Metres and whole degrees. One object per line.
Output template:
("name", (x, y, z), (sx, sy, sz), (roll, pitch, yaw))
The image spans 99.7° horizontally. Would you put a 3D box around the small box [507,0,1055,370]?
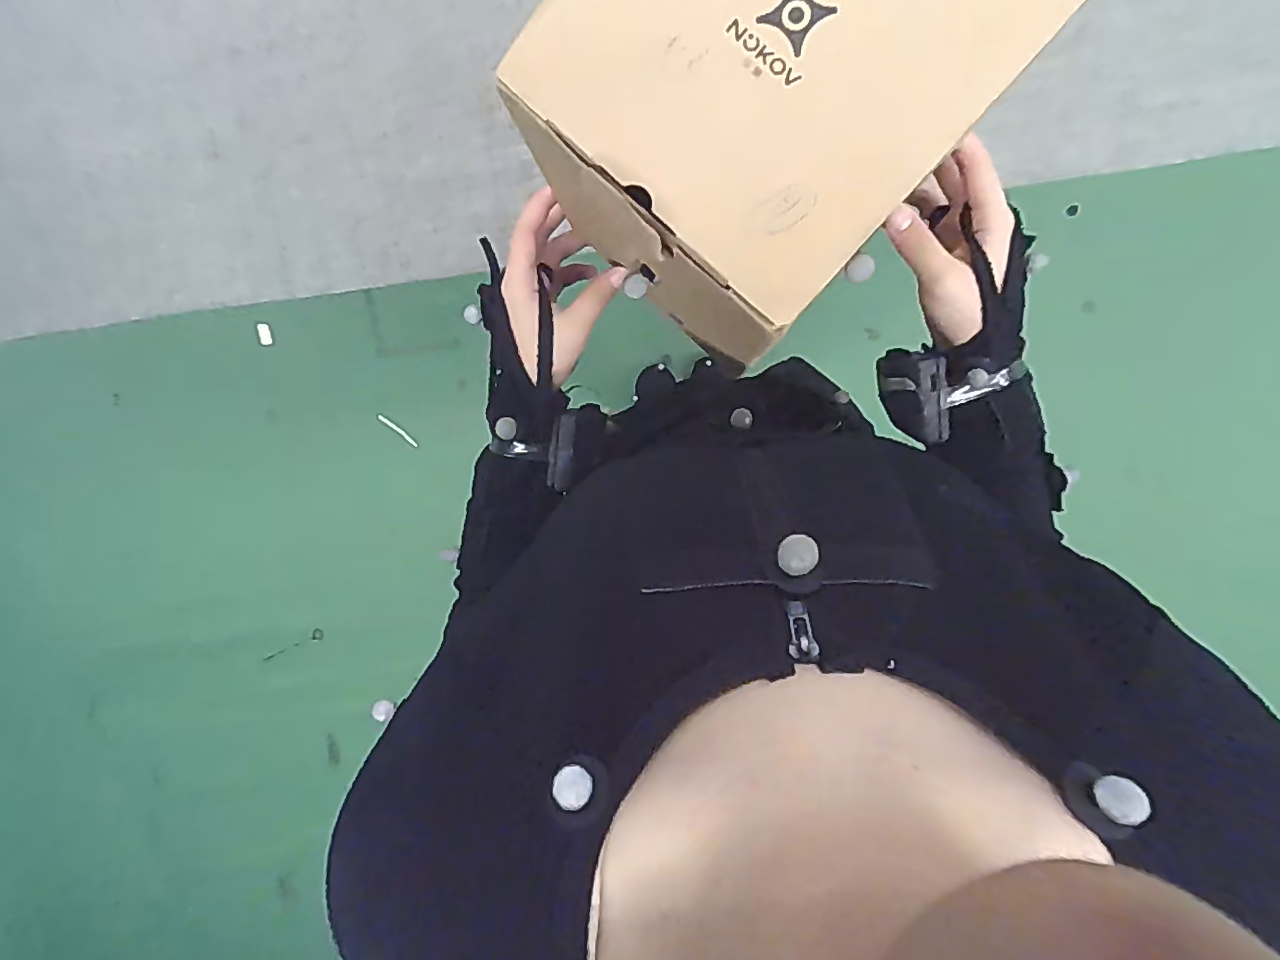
("small box", (0.062, -0.184, 0.310), (0.168, 0.176, 0.179), (42, 97, 1))
